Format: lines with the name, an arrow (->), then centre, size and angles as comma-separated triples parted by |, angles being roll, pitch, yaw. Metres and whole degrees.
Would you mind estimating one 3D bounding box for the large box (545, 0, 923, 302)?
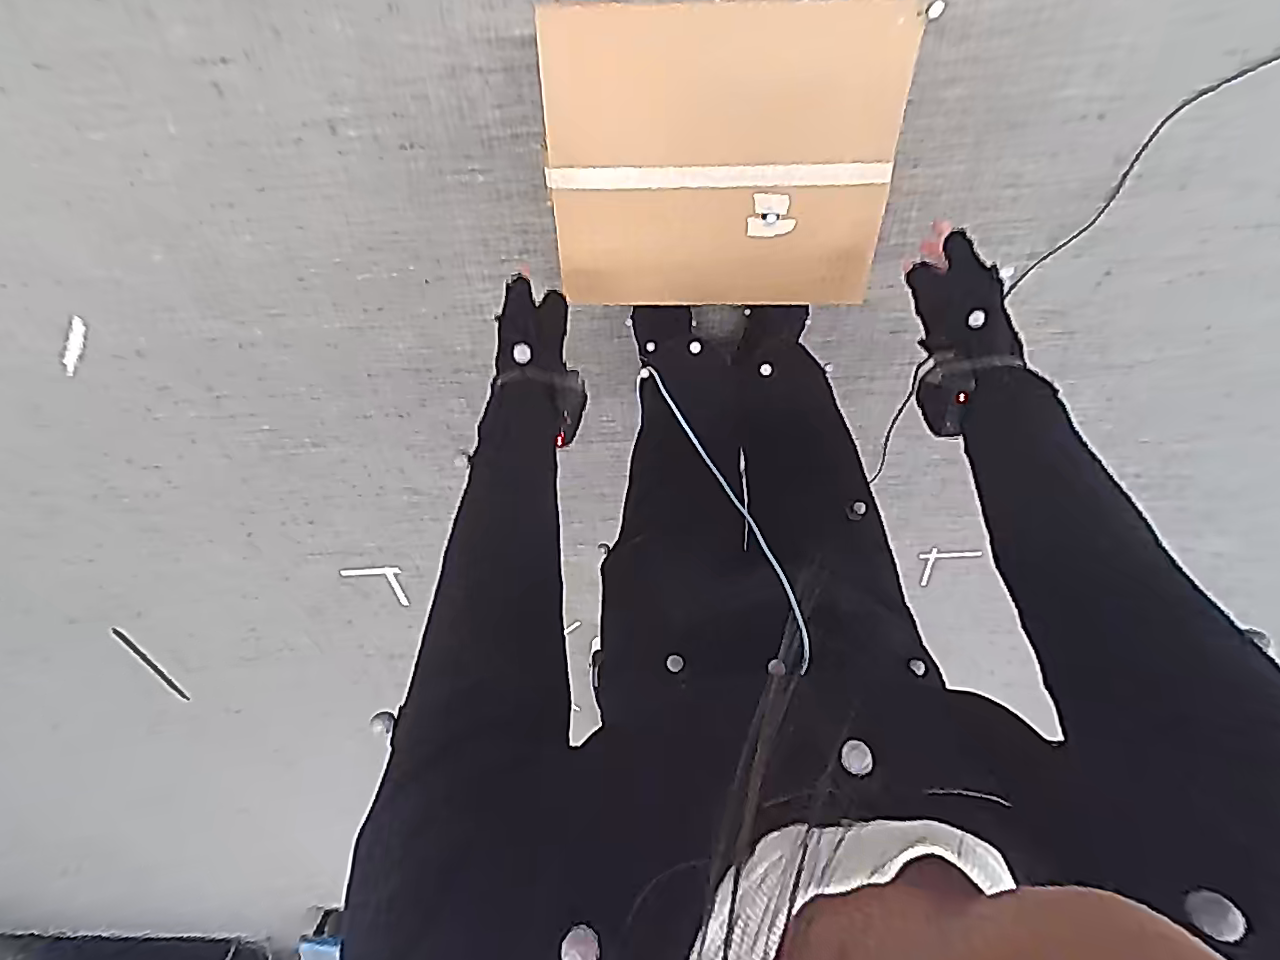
large box -> 0.104, -0.461, 0.774 | 0.408, 0.320, 0.320 | 0, 127, 2
